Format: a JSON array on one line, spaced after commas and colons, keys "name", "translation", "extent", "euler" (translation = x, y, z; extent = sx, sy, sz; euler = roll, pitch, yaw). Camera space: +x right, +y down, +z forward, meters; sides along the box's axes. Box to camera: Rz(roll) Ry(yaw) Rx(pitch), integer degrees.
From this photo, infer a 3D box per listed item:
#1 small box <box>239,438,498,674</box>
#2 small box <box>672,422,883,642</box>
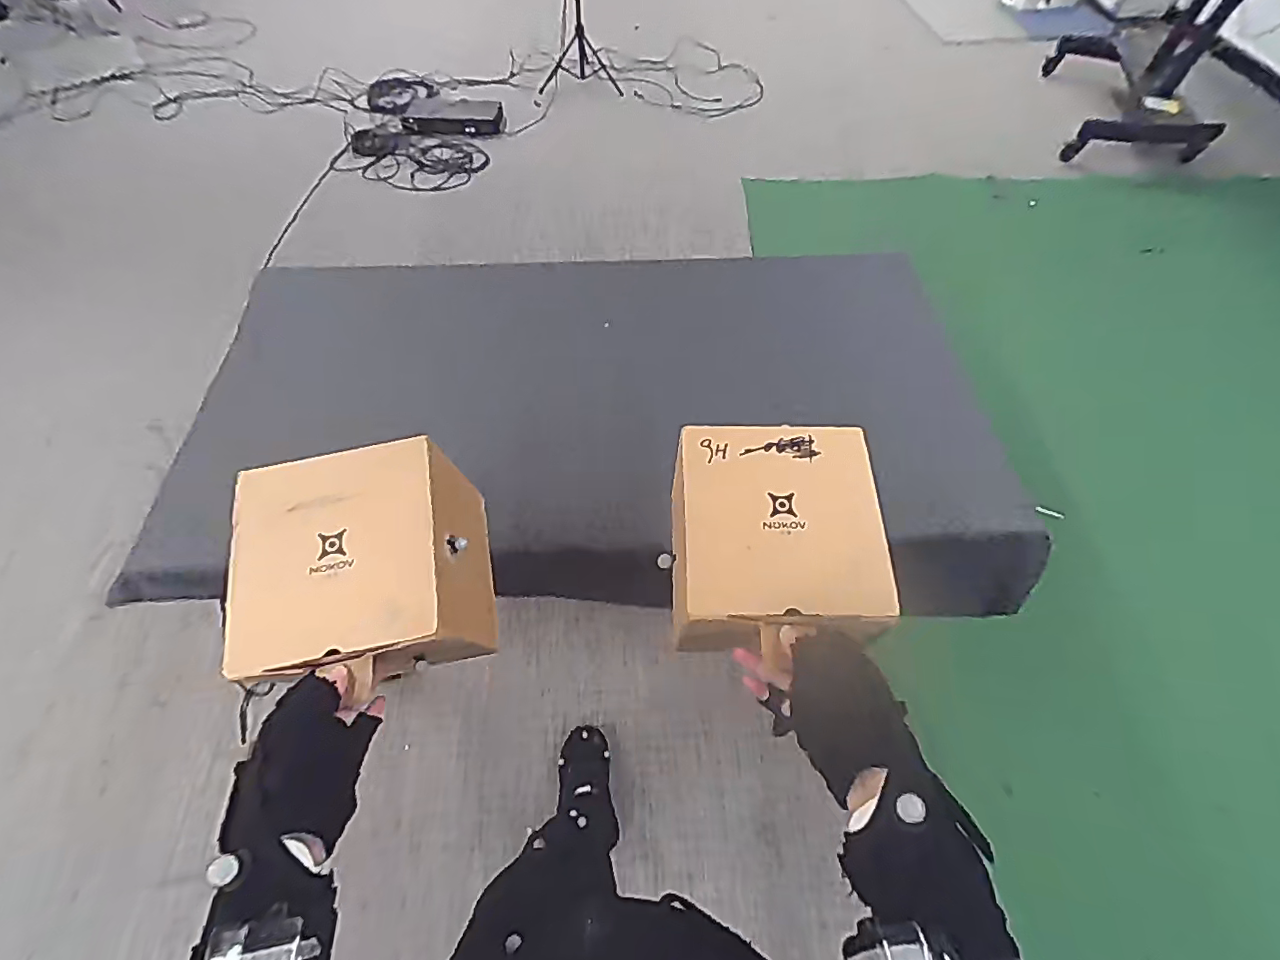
[{"name": "small box", "translation": [-0.247, 0.084, 0.529], "extent": [0.168, 0.176, 0.179], "euler": [-12, 68, -2]}, {"name": "small box", "translation": [0.119, 0.062, 0.537], "extent": [0.168, 0.176, 0.179], "euler": [-2, 63, 4]}]
